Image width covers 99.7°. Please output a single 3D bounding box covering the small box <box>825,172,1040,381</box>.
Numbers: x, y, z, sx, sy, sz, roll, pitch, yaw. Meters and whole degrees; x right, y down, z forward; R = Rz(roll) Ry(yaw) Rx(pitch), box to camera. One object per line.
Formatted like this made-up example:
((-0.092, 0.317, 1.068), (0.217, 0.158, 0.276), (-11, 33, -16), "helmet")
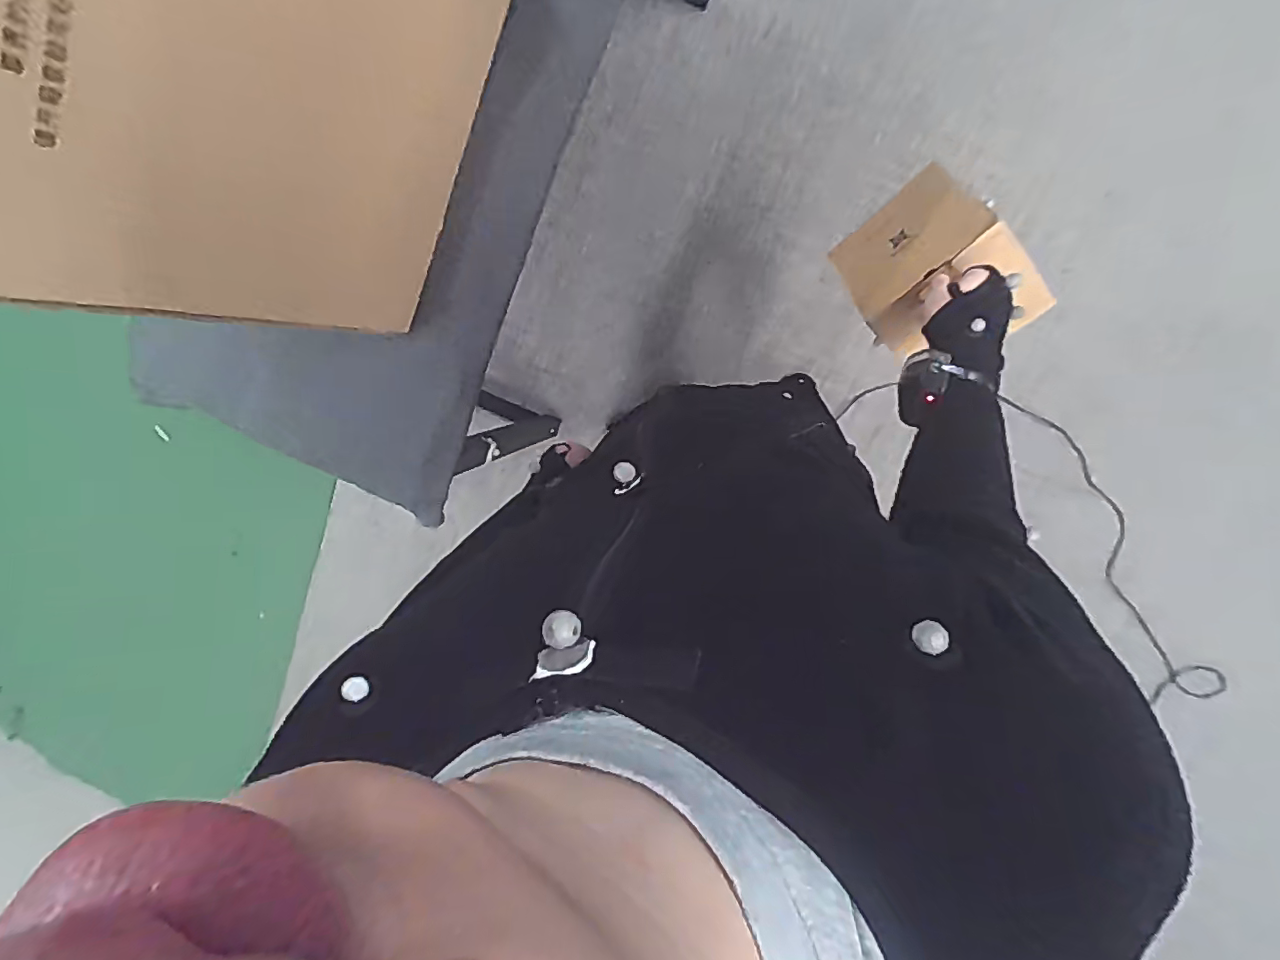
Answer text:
((0.385, -0.258, 0.722), (0.176, 0.179, 0.168), (31, 127, -33), "small box")
